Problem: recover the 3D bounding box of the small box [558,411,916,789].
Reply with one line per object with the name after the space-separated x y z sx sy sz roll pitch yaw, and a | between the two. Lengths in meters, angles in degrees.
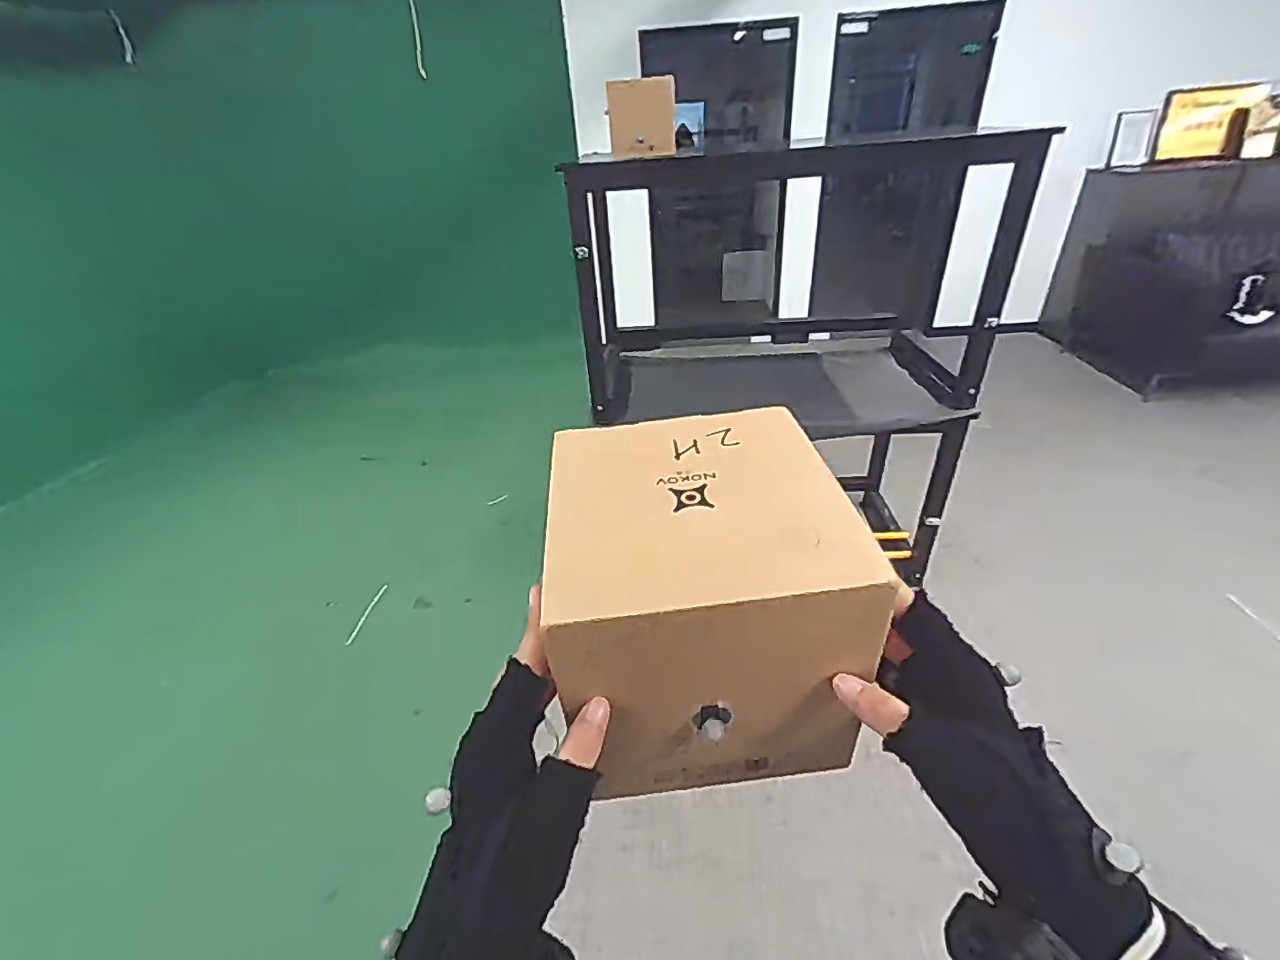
0.045 0.075 0.352 0.168 0.176 0.179 -6 34 -2 | small box
